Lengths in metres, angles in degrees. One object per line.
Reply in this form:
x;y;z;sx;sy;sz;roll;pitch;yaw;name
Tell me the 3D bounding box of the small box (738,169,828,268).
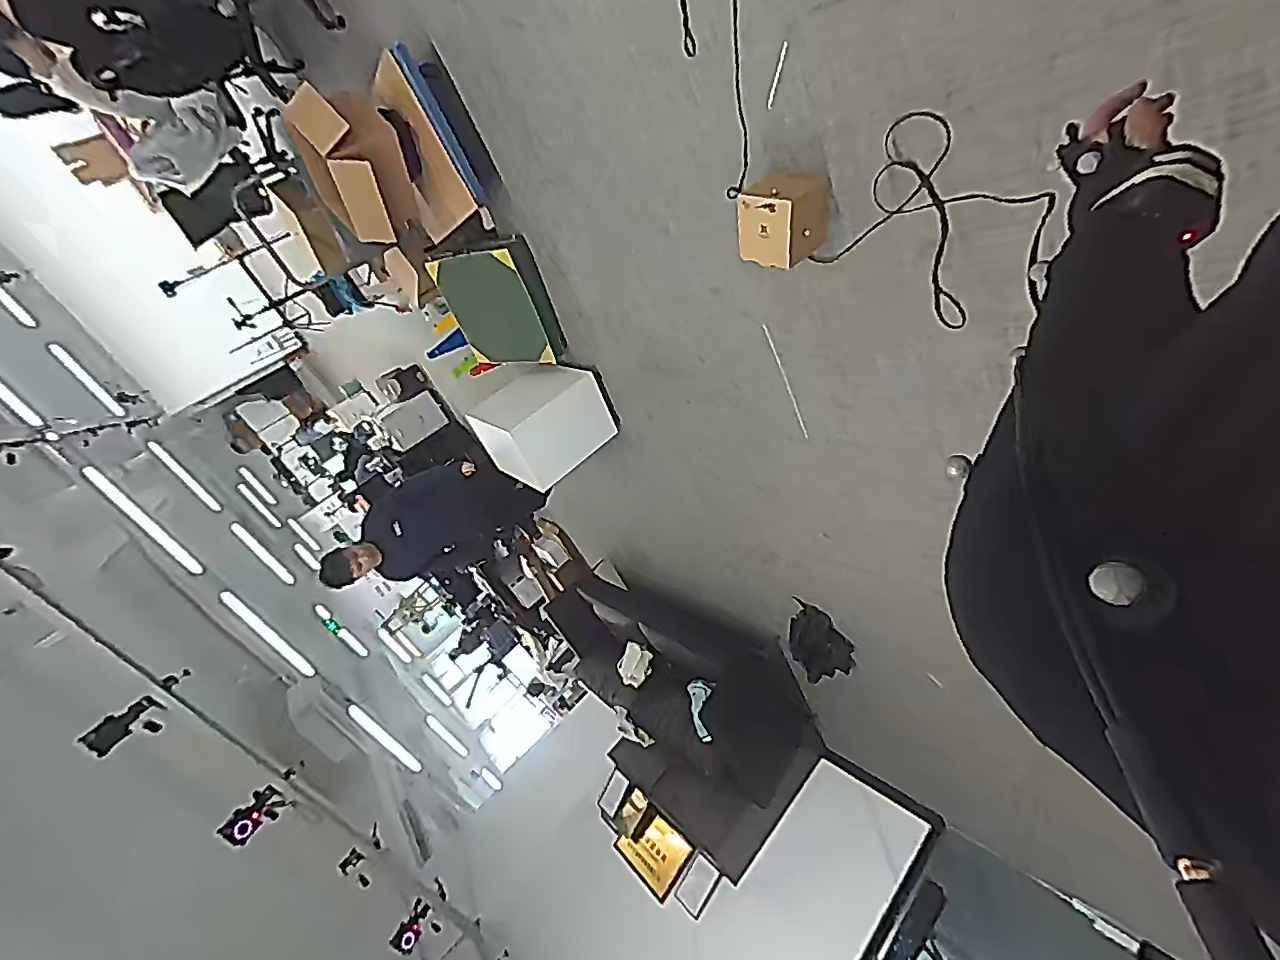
0.382;-0.700;1.443;0.168;0.176;0.179;31;150;35;small box
